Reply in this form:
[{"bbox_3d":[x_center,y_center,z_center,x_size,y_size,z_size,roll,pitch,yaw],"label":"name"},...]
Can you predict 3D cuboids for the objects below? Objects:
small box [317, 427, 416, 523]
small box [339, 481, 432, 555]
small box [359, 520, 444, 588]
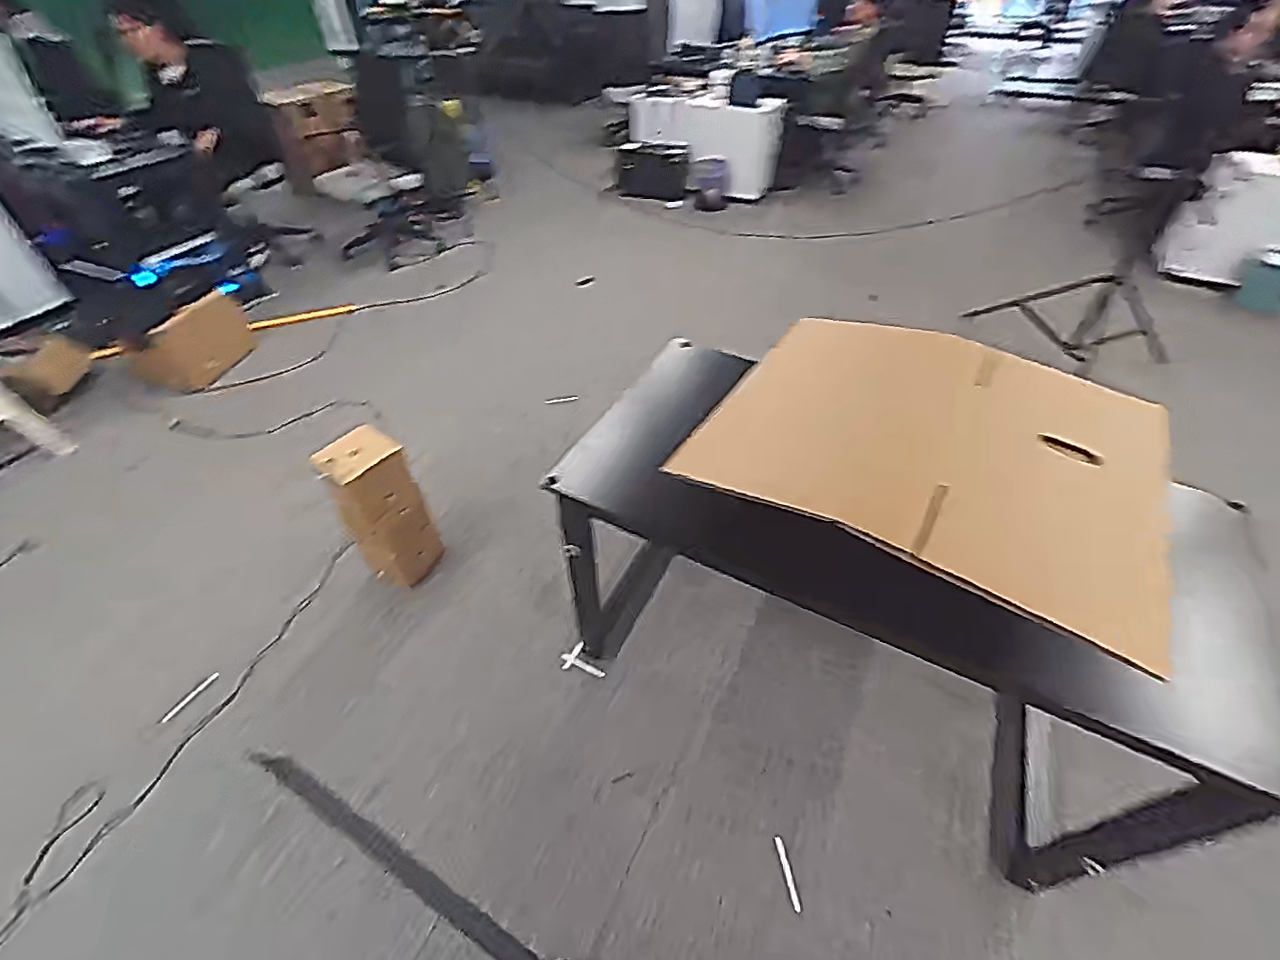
[{"bbox_3d":[-0.762,-0.013,1.530,0.168,0.176,0.179,28,51,24],"label":"small box"},{"bbox_3d":[-0.764,0.101,1.648,0.168,0.176,0.179,17,47,14],"label":"small box"},{"bbox_3d":[-0.765,0.218,1.760,0.168,0.176,0.179,18,49,17],"label":"small box"}]
